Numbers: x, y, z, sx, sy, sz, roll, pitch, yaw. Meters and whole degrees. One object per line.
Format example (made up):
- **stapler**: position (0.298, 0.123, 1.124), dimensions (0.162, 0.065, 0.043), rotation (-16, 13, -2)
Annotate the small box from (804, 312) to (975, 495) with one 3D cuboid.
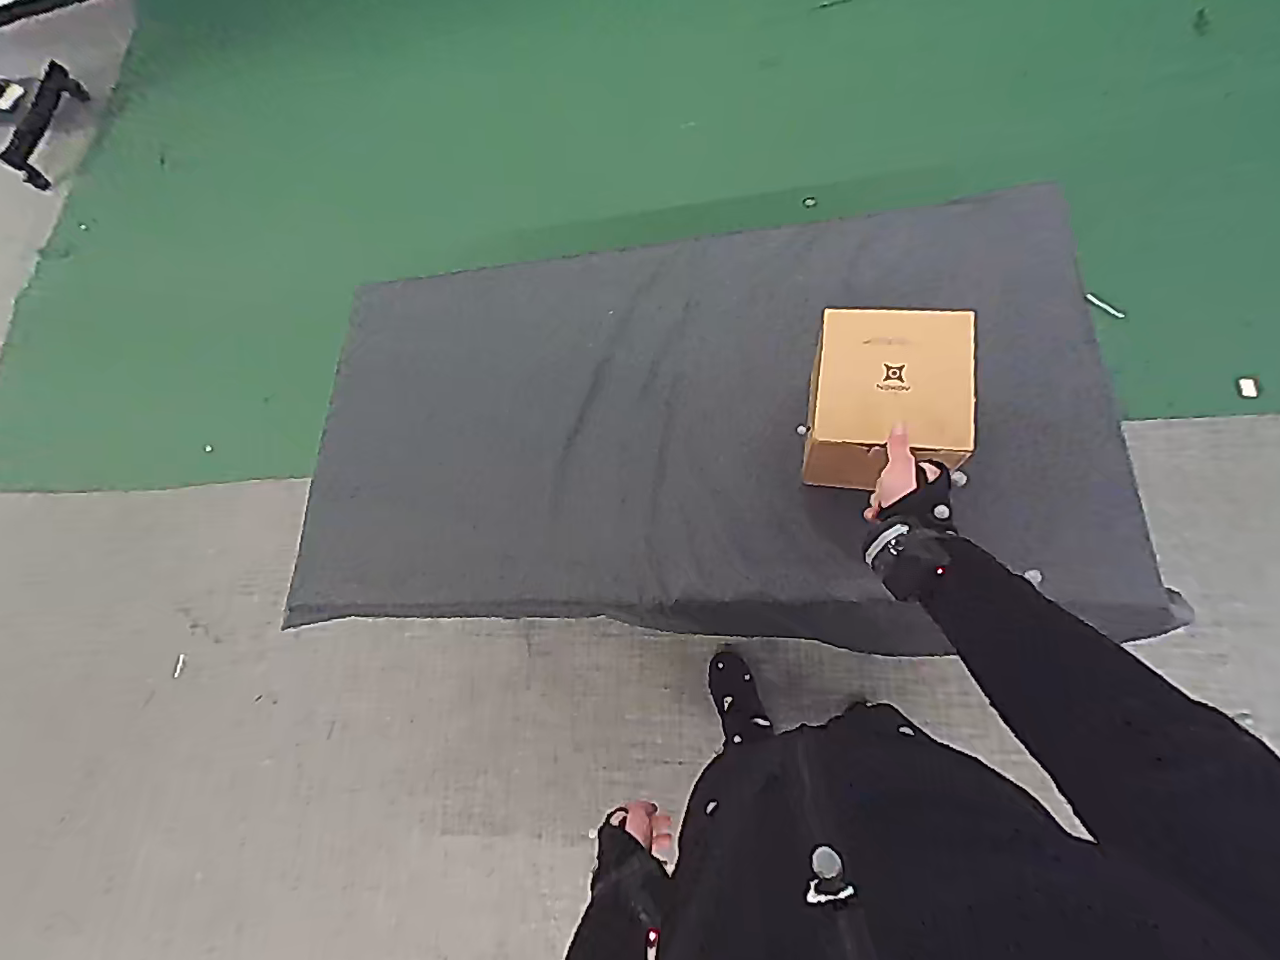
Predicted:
- **small box**: position (0.307, -0.090, 0.692), dimensions (0.168, 0.176, 0.179), rotation (6, 72, 13)
